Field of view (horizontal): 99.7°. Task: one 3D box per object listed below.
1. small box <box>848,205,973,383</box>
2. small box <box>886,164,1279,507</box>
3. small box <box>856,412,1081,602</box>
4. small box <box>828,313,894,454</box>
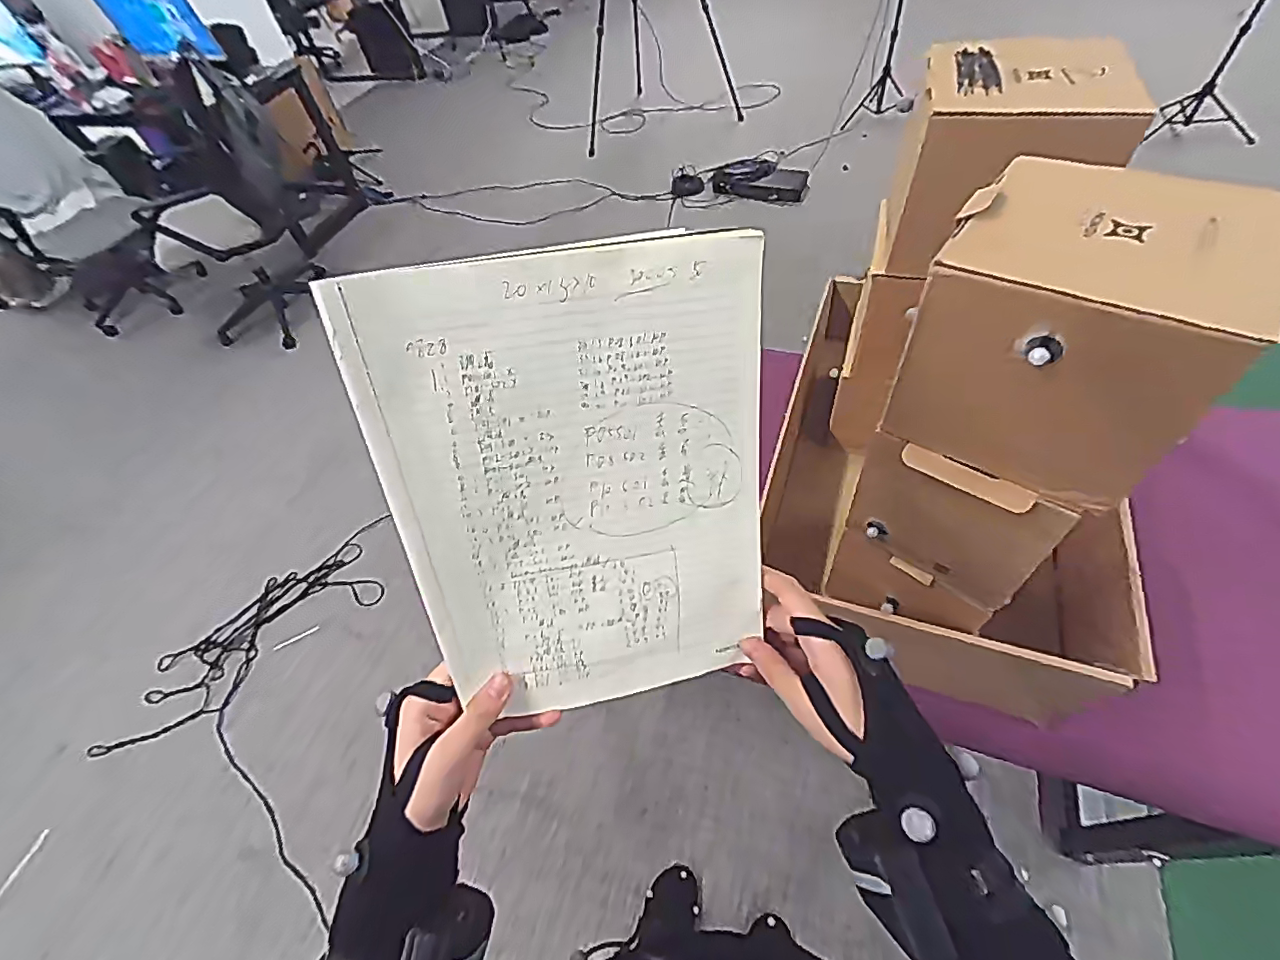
[{"bbox_3d":[0.382,-0.234,0.709,0.179,0.176,0.168,11,57,16],"label":"small box"},{"bbox_3d":[0.315,-0.108,0.411,0.179,0.176,0.168,30,62,28],"label":"small box"},{"bbox_3d":[0.337,-0.012,0.540,0.168,0.176,0.179,32,62,30],"label":"small box"},{"bbox_3d":[0.399,-0.144,0.842,0.168,0.176,0.179,13,58,18],"label":"small box"}]
